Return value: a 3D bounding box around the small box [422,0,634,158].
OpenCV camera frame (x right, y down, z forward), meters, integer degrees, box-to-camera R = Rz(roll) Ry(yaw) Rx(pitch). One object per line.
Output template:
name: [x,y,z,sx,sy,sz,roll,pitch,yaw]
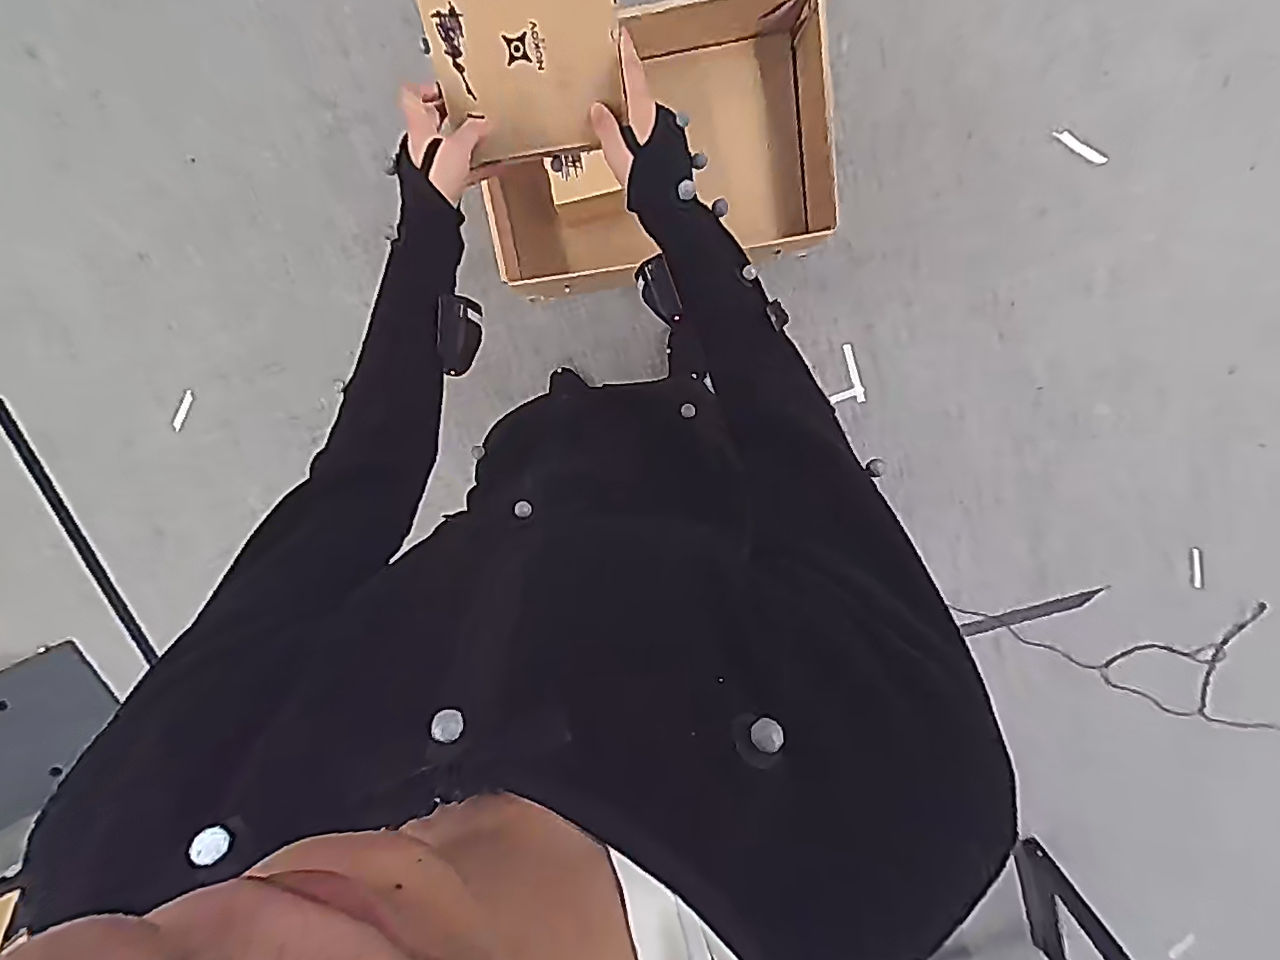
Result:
small box: [-0.108,-0.439,0.559,0.179,0.176,0.168,-8,120,0]
